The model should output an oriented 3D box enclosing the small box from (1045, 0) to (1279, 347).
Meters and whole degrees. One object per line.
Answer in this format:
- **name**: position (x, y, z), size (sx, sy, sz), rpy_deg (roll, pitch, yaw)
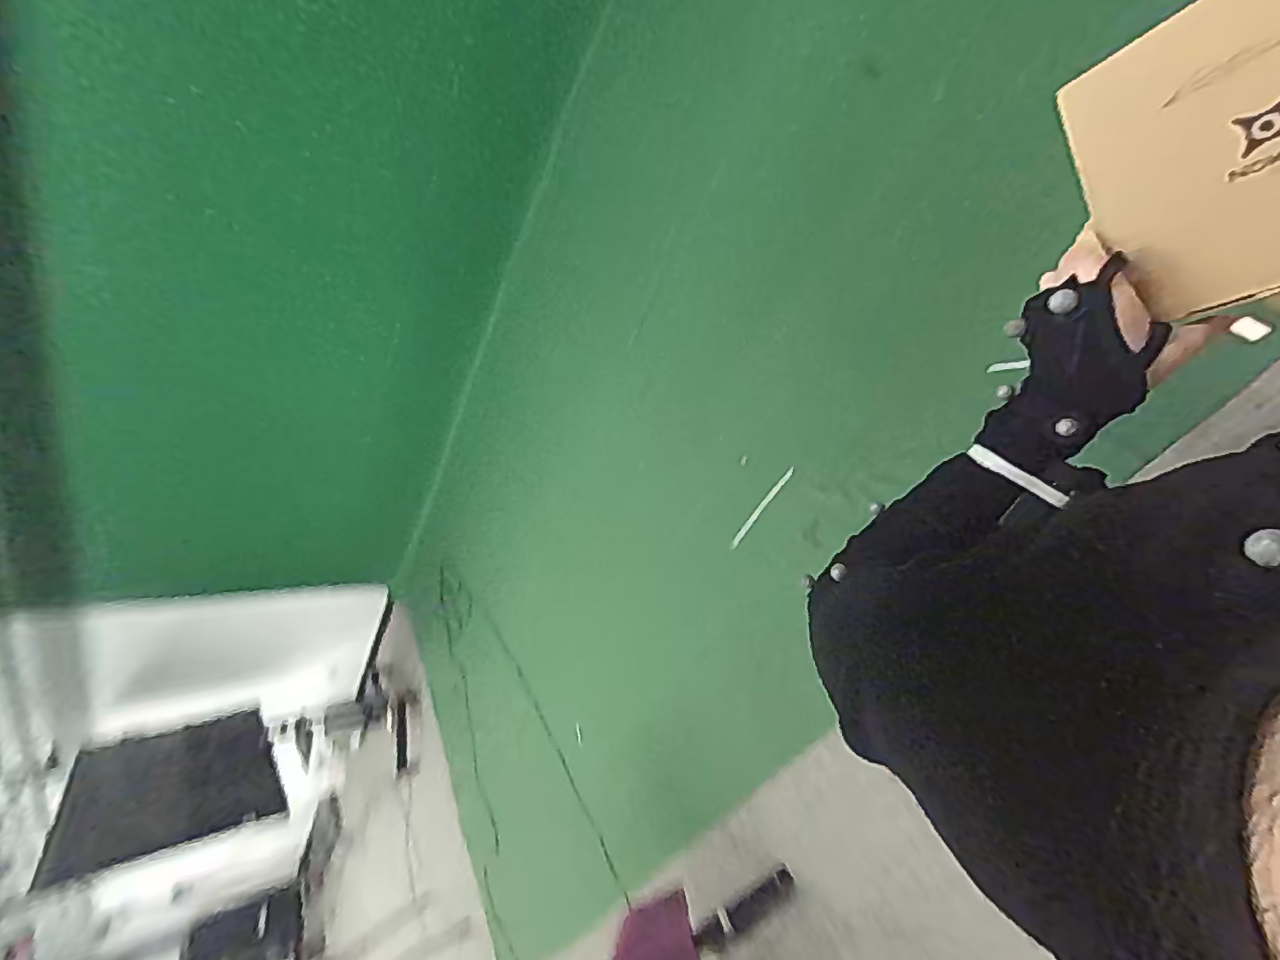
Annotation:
- **small box**: position (0.414, -0.208, 0.354), size (0.168, 0.176, 0.179), rpy_deg (-17, 91, 57)
